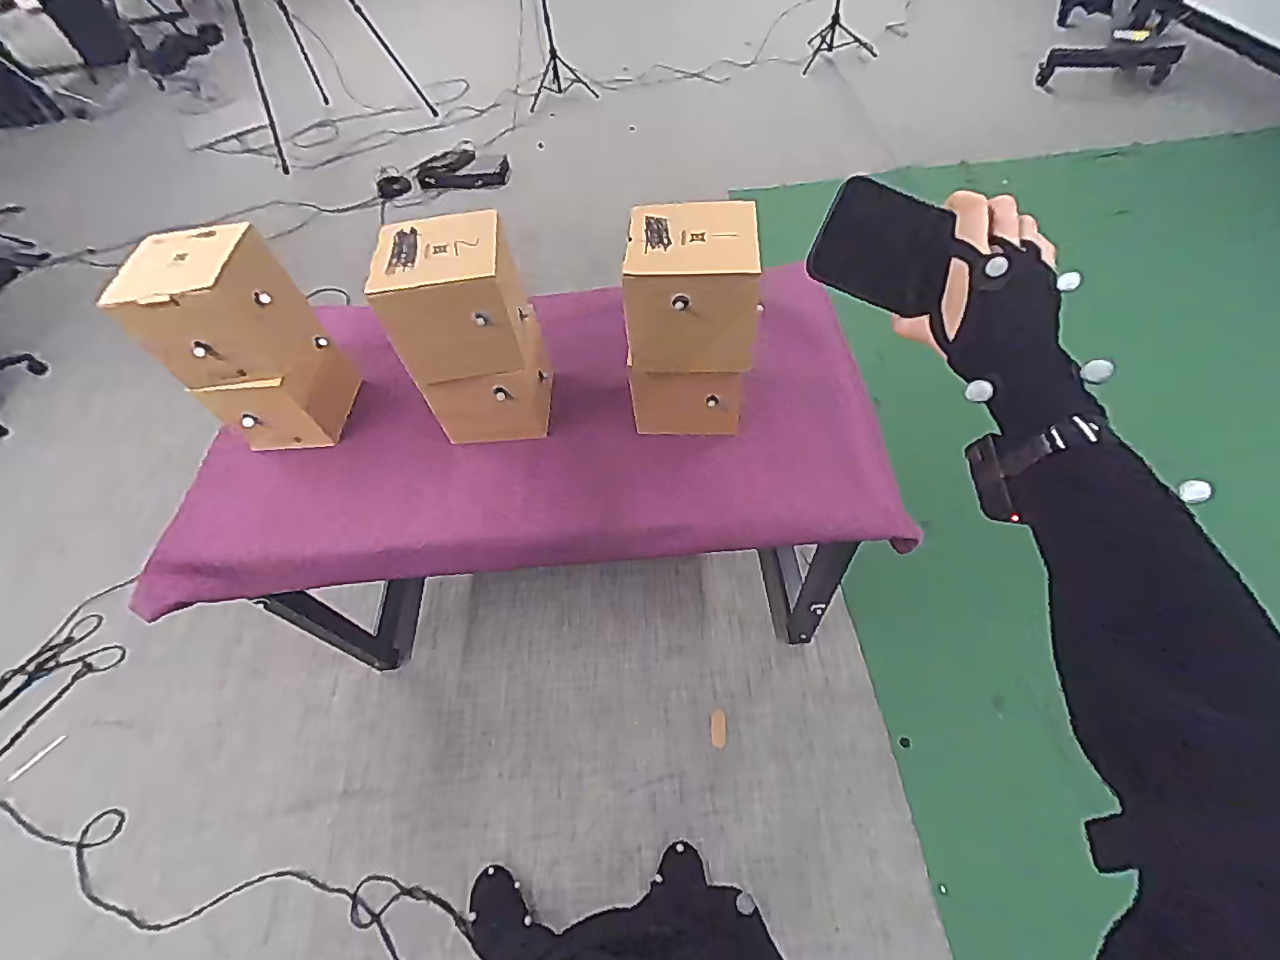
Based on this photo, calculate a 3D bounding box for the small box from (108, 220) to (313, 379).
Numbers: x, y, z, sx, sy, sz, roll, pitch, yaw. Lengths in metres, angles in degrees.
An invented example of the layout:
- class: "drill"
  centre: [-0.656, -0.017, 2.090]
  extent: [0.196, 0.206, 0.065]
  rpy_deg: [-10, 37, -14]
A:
- class: "small box"
  centre: [-0.659, -0.277, 0.859]
  extent: [0.168, 0.176, 0.179]
  rpy_deg: [-8, 56, 1]

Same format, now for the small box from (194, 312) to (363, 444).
- class: "small box"
  centre: [-0.642, -0.177, 0.989]
  extent: [0.168, 0.176, 0.179]
  rpy_deg: [-4, 55, 5]

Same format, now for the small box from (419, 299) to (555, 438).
- class: "small box"
  centre: [-0.253, -0.190, 0.947]
  extent: [0.179, 0.176, 0.168]
  rpy_deg: [-4, 55, 4]

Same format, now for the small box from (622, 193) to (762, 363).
- class: "small box"
  centre: [0.078, -0.282, 0.772]
  extent: [0.179, 0.176, 0.168]
  rpy_deg: [1, 56, 7]

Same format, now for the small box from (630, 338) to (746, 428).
- class: "small box"
  centre: [0.086, -0.202, 0.916]
  extent: [0.179, 0.176, 0.168]
  rpy_deg: [1, 56, 9]
